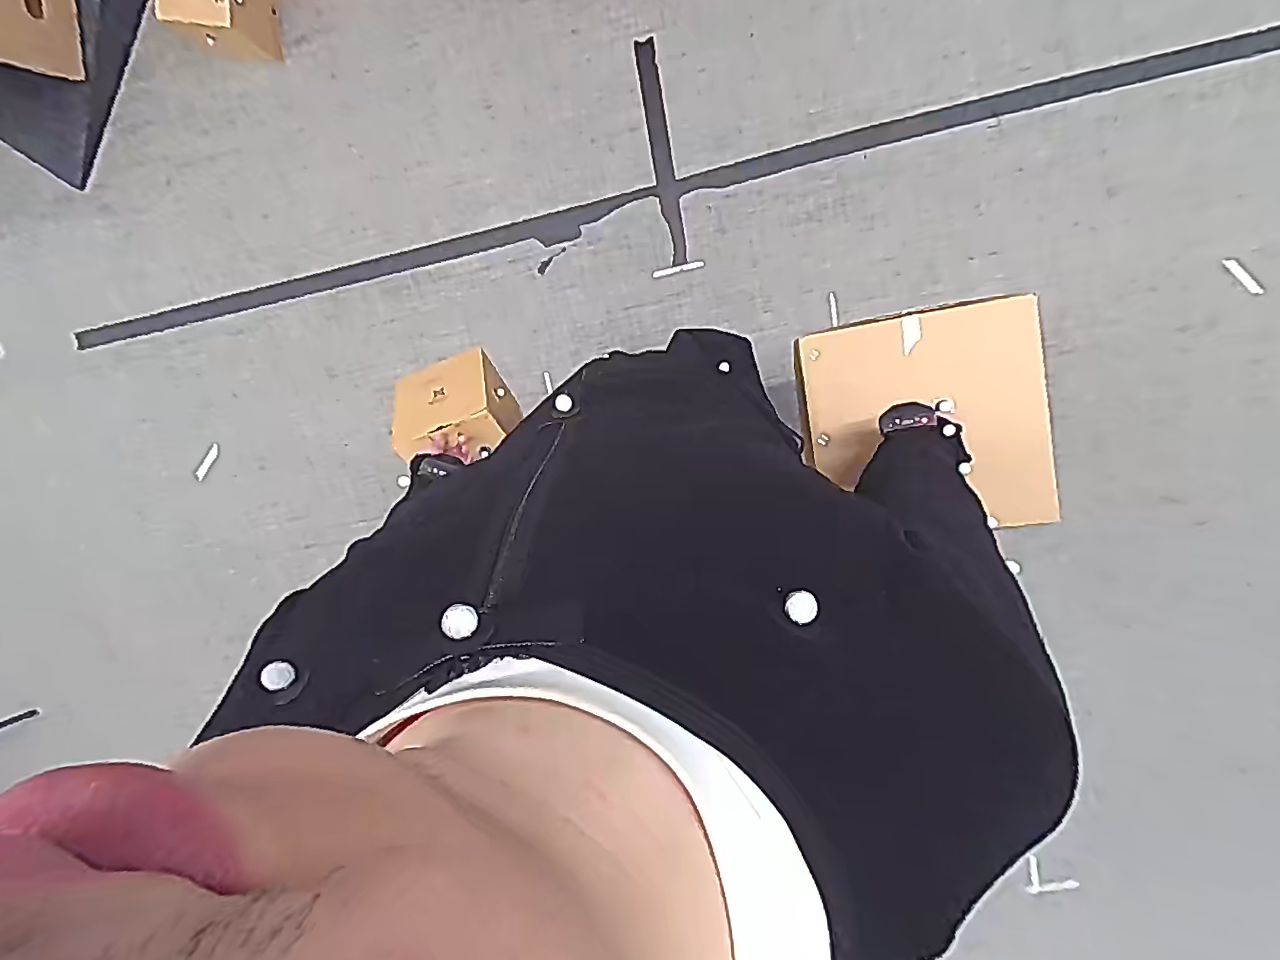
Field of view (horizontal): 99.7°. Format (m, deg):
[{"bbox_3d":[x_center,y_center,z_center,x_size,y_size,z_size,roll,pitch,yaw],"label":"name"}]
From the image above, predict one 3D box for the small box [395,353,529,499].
[{"bbox_3d":[-0.311,-0.087,0.967,0.168,0.179,0.176,-21,138,3],"label":"small box"}]
